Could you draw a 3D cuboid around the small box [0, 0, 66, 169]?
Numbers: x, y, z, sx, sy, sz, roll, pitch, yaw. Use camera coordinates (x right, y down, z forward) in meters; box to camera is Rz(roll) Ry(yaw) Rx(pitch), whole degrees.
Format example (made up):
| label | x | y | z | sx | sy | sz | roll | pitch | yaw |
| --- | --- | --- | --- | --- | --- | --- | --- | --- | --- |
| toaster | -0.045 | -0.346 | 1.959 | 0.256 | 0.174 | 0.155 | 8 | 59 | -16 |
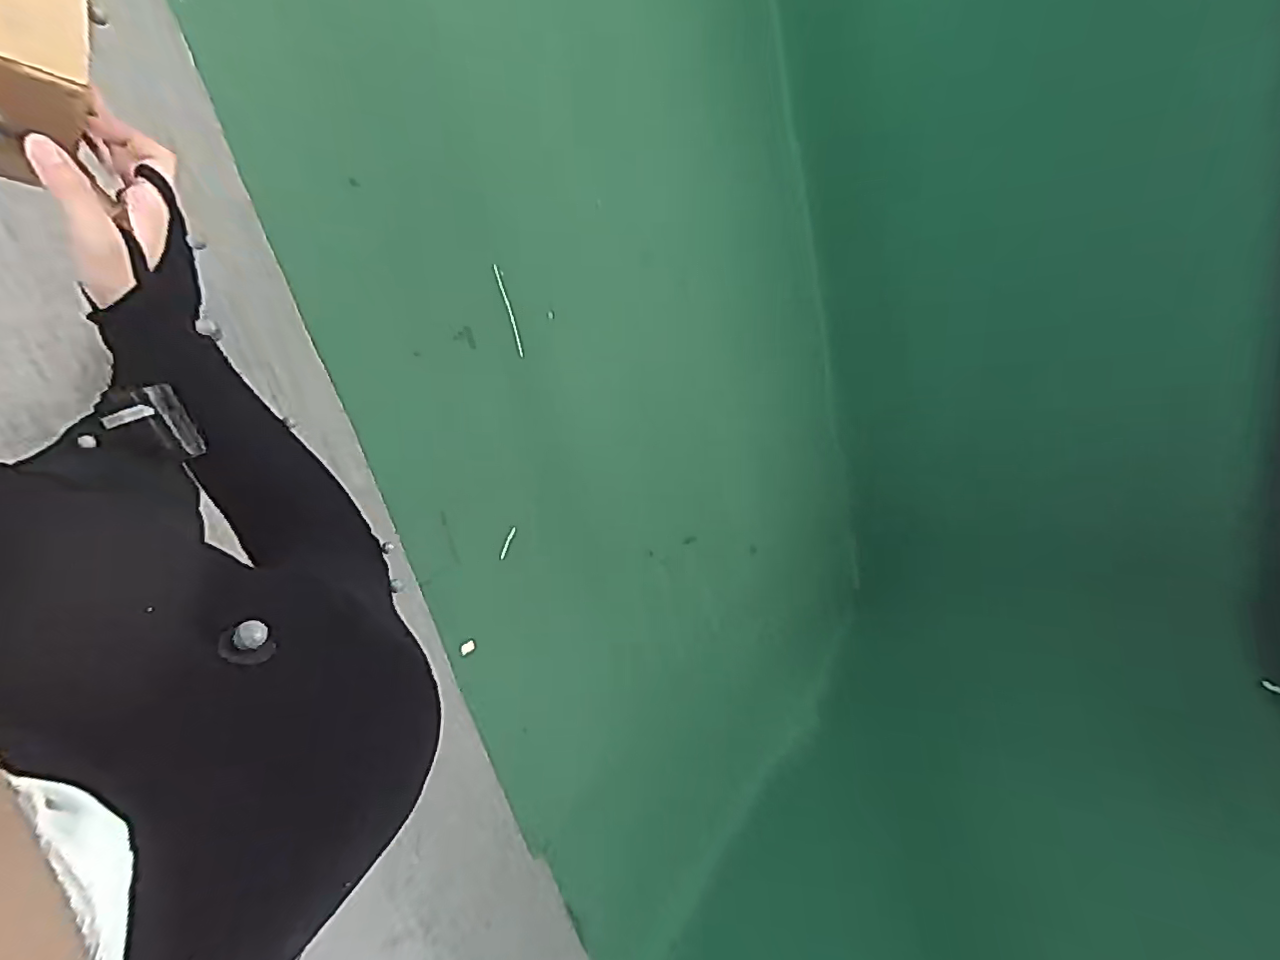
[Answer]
| label | x | y | z | sx | sy | sz | roll | pitch | yaw |
| --- | --- | --- | --- | --- | --- | --- | --- | --- | --- |
| small box | -0.474 | -0.332 | 0.330 | 0.168 | 0.176 | 0.179 | -1 | 88 | -51 |
